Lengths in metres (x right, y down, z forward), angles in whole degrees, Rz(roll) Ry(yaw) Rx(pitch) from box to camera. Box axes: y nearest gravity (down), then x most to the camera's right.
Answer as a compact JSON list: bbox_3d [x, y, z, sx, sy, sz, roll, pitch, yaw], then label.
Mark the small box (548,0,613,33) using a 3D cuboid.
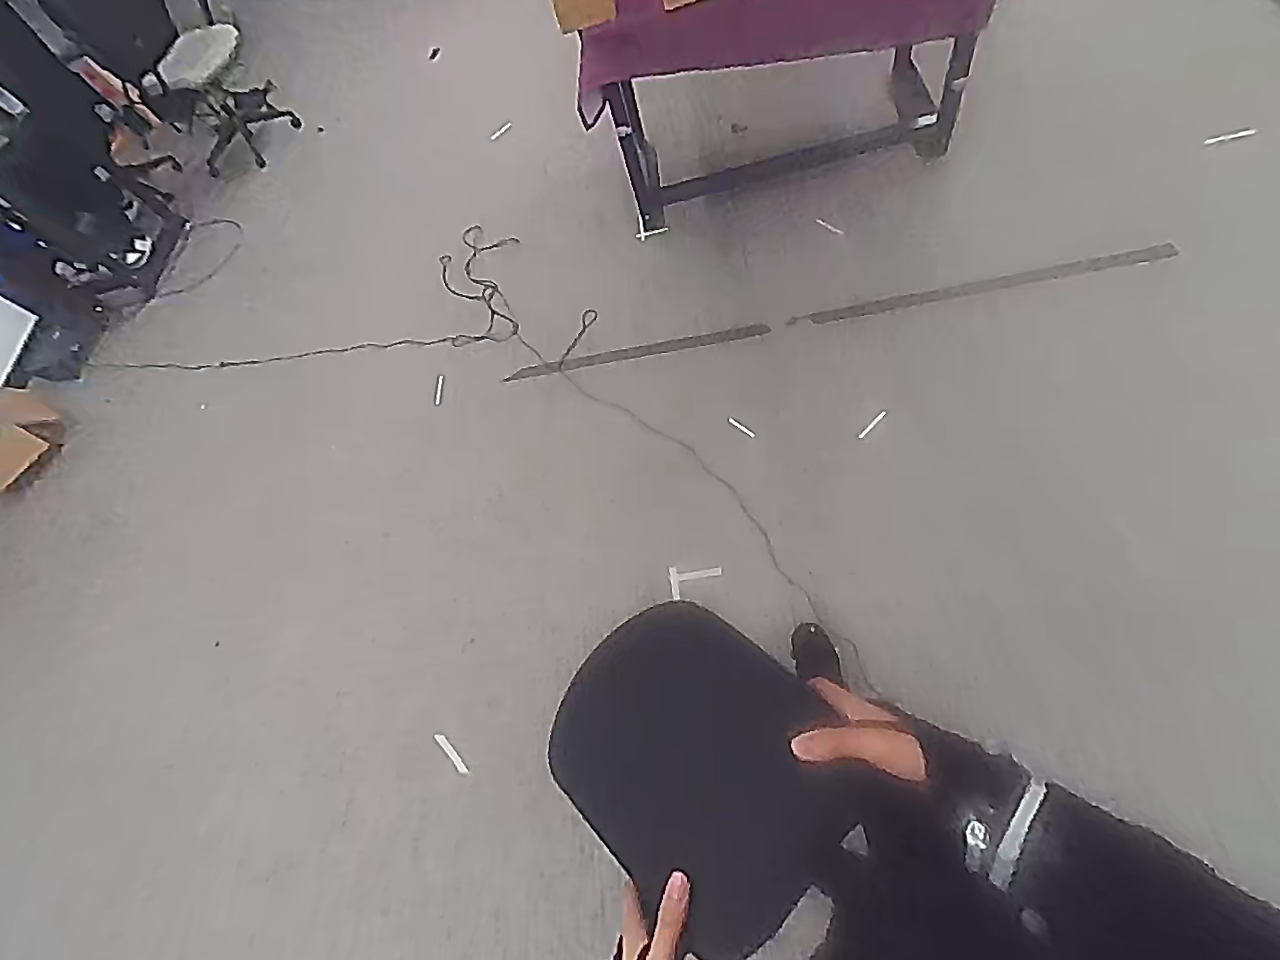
[{"bbox_3d":[-0.188,-1.459,1.585,0.179,0.176,0.168,-10,63,10],"label":"small box"}]
